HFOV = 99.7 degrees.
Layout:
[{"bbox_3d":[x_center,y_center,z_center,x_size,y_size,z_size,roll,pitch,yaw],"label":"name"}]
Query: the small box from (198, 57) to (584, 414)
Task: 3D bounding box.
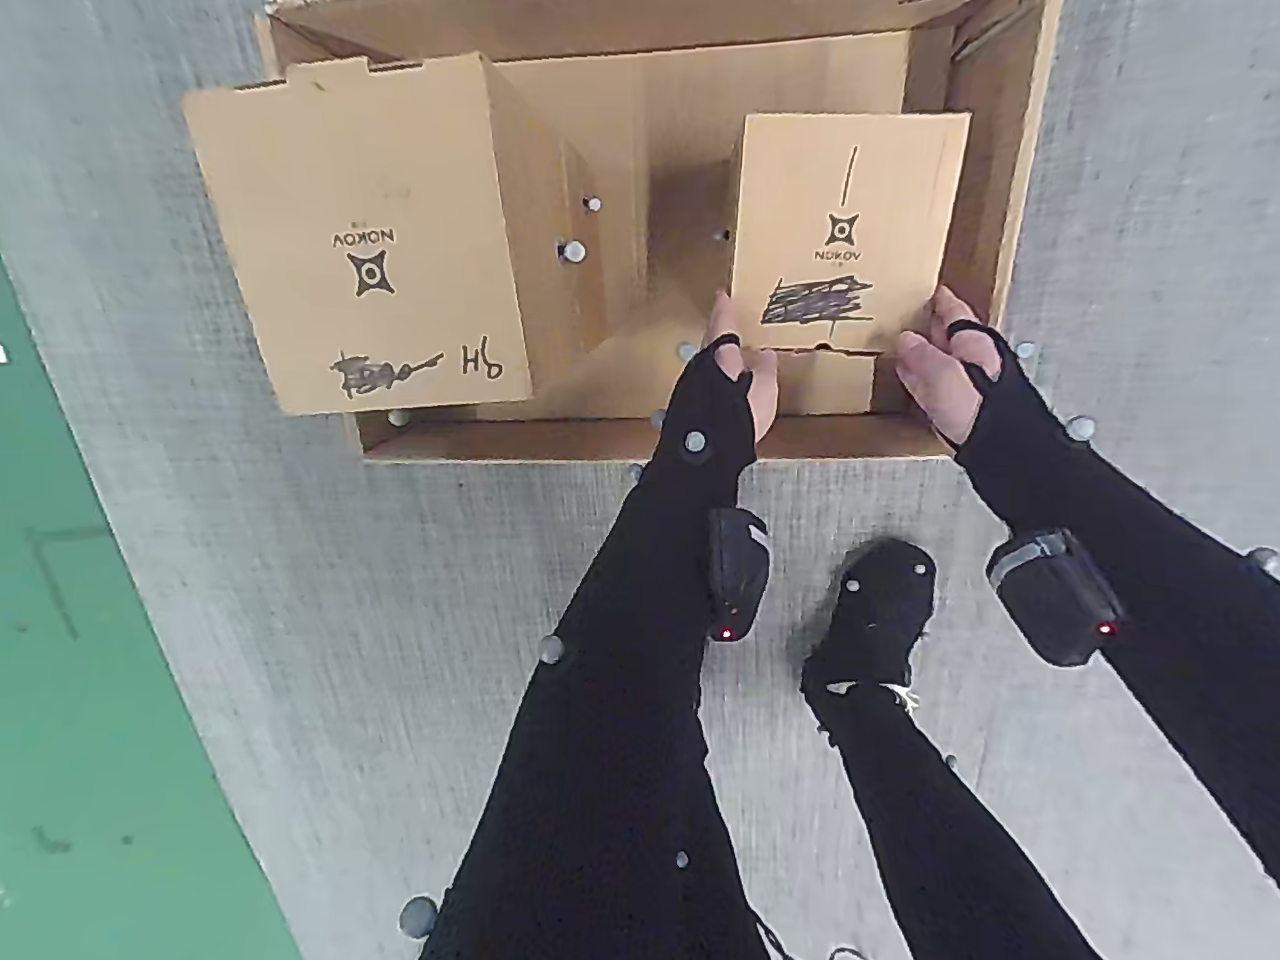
[{"bbox_3d":[-0.138,-0.152,0.376,0.168,0.176,0.179,-2,110,5],"label":"small box"}]
